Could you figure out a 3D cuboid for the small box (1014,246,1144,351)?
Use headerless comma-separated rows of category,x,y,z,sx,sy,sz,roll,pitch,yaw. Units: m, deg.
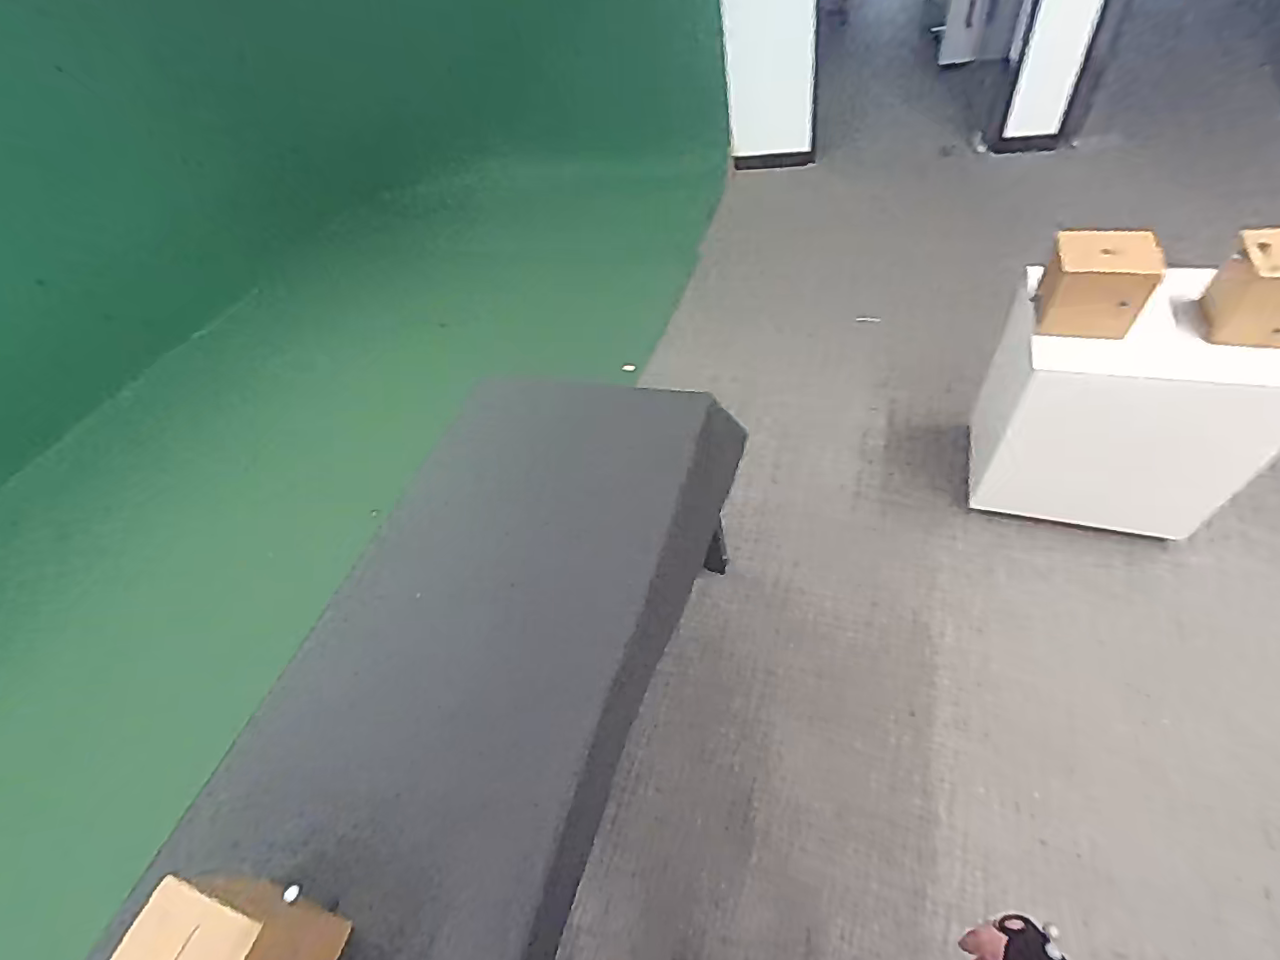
small box,1.000,-0.417,1.250,0.179,0.176,0.168,9,52,18

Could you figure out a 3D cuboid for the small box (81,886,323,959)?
small box,-0.494,0.575,0.584,0.168,0.176,0.179,7,52,17

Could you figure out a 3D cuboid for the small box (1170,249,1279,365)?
small box,1.291,-0.365,1.146,0.179,0.176,0.168,11,55,20
